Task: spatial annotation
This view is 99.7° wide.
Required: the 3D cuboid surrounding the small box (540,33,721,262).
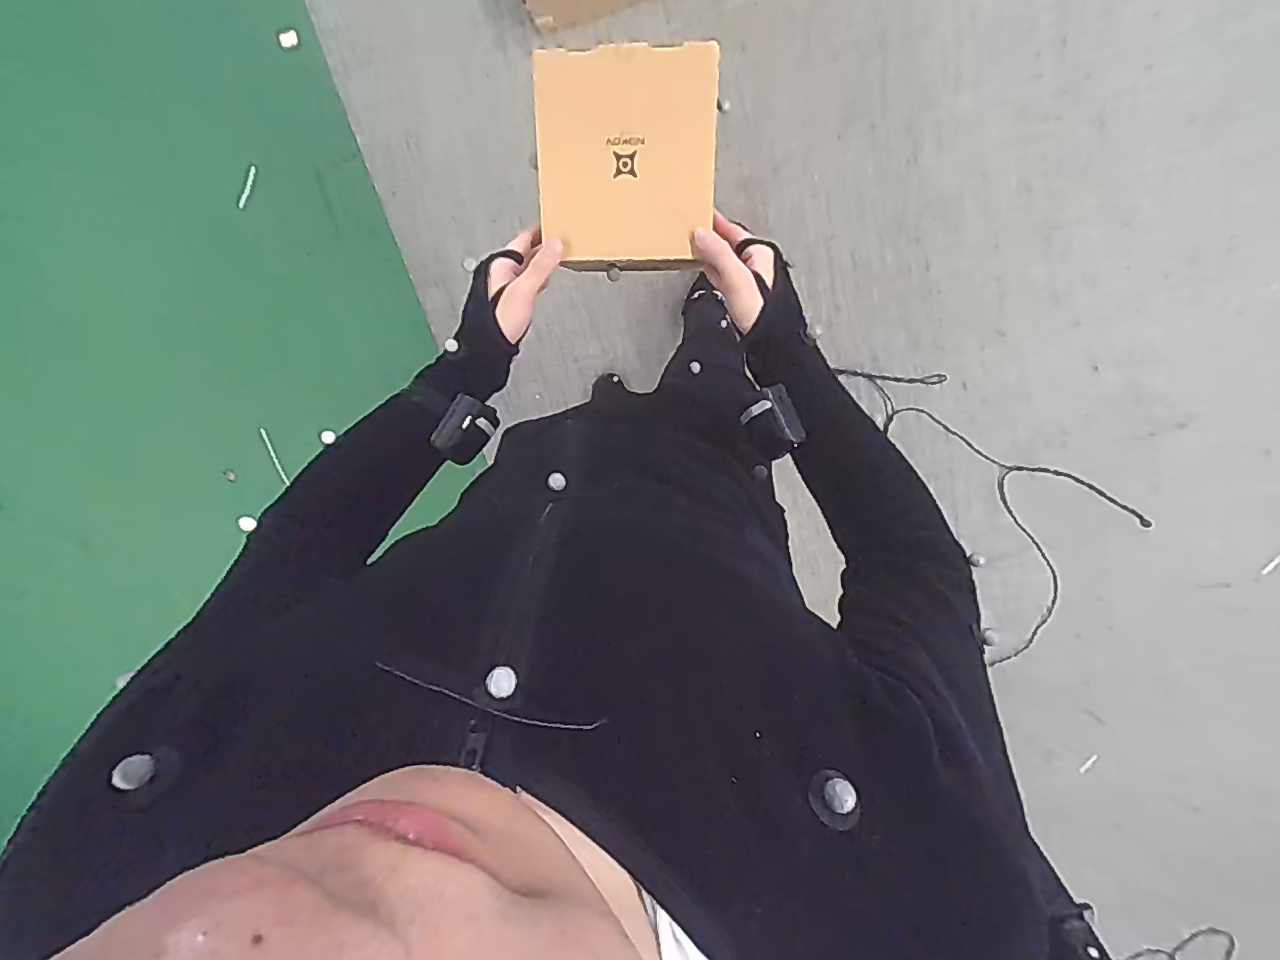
[{"bbox_3d":[0.000,-0.332,0.579,0.168,0.176,0.179,0,108,5],"label":"small box"}]
